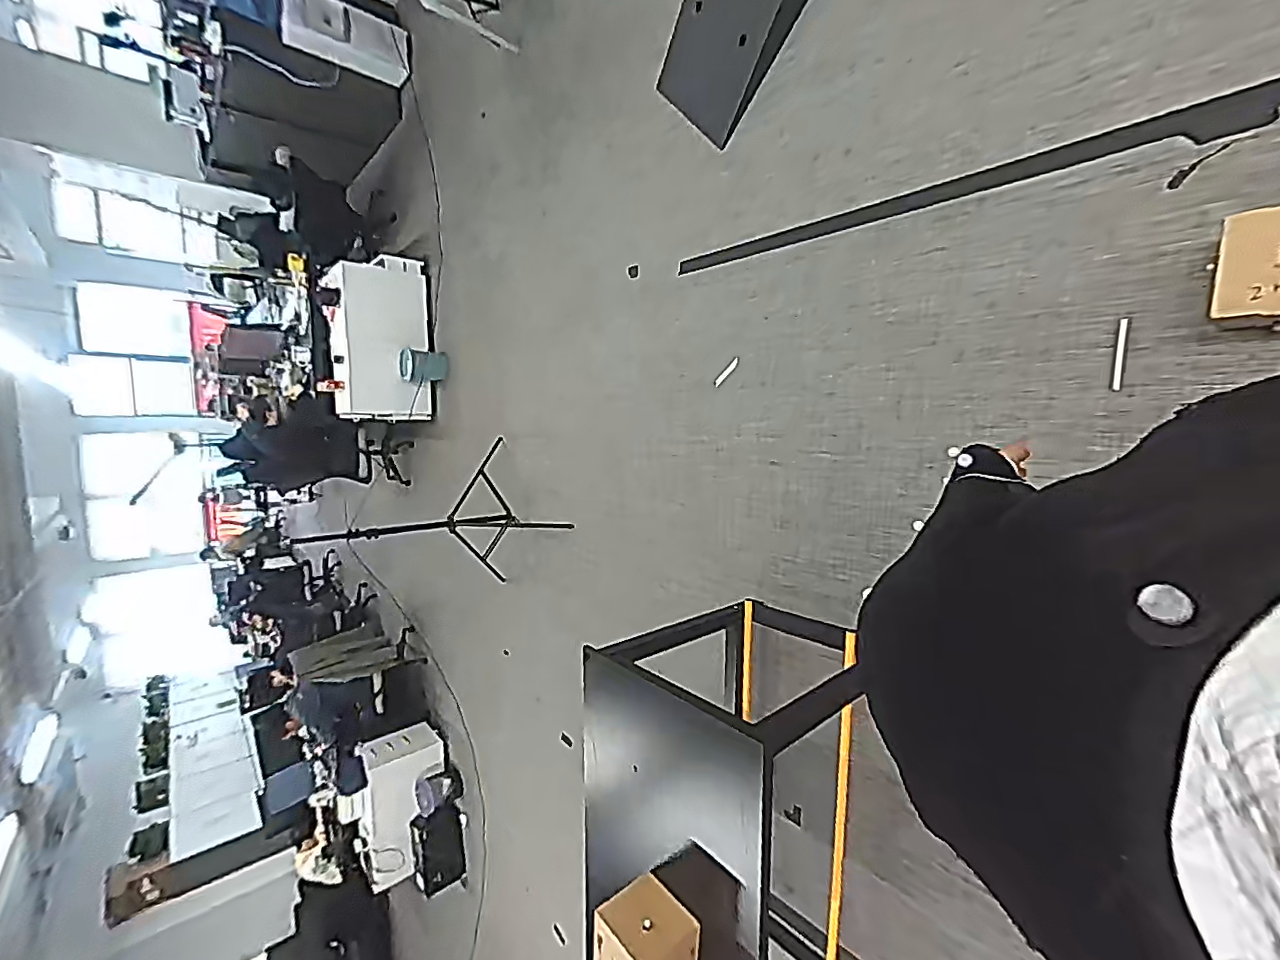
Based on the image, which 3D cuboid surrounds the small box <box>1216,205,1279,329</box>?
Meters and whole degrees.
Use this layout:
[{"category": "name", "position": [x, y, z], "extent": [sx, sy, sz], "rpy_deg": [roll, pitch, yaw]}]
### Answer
[{"category": "small box", "position": [1.114, -0.361, 0.916], "extent": [0.168, 0.176, 0.179], "rpy_deg": [10, 102, 49]}]

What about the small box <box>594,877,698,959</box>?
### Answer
[{"category": "small box", "position": [0.014, 1.058, 1.224], "extent": [0.179, 0.176, 0.168], "rpy_deg": [12, 102, 48]}]
